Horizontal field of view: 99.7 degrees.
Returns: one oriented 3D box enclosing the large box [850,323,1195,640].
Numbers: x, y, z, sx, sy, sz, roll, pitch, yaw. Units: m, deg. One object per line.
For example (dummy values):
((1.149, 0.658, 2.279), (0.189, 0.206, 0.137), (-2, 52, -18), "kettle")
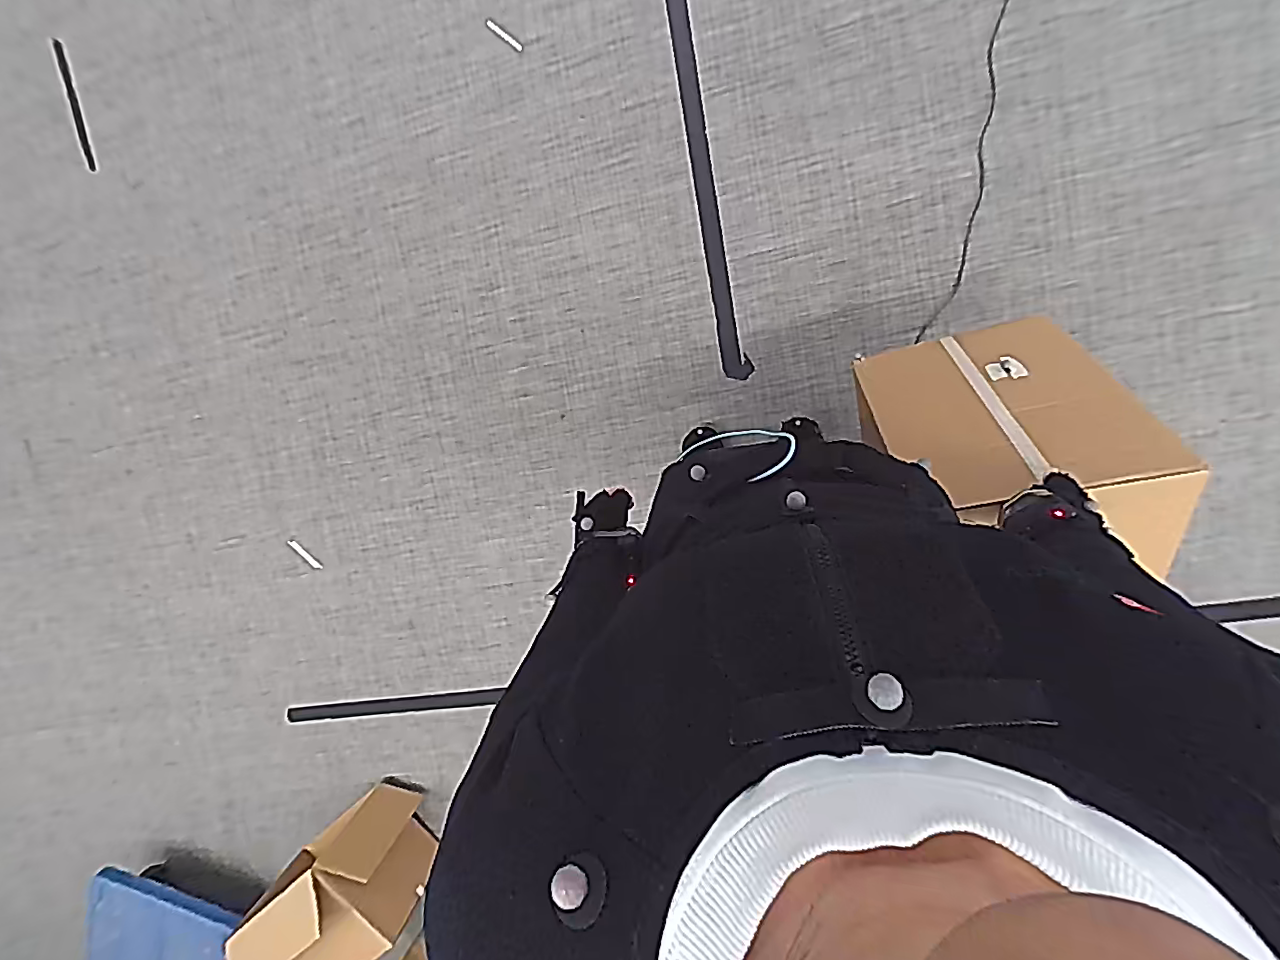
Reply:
((0.571, -0.002, 0.906), (0.320, 0.408, 0.320), (-11, 128, 15), "large box")
